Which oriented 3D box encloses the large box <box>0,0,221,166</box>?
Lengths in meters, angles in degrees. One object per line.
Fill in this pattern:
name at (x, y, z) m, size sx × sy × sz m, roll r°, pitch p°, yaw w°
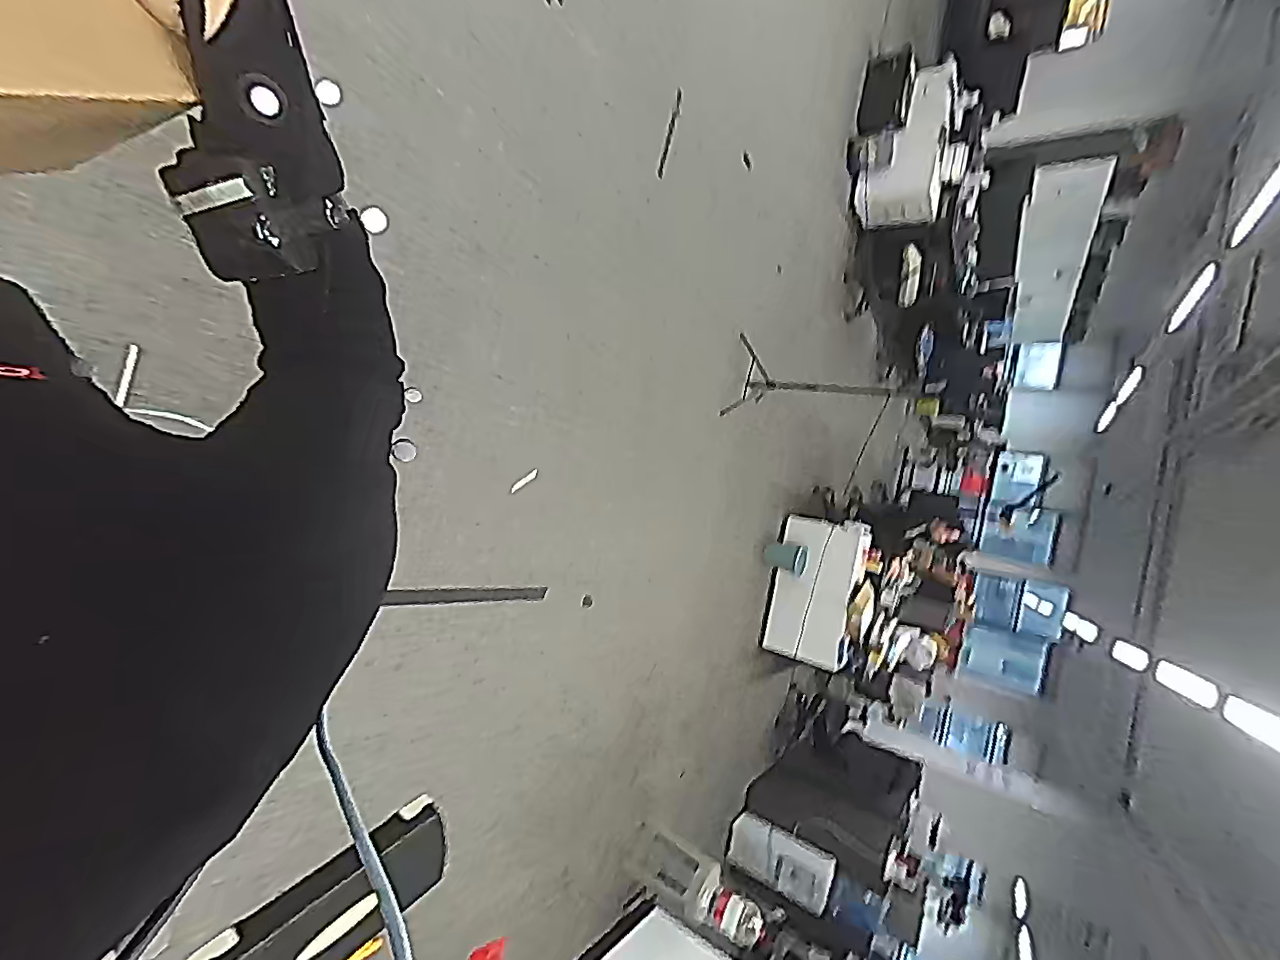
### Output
large box at (-0.469, -0.278, 0.158) m, size 0.408 × 0.320 × 0.320 m, roll -38°, pitch 132°, yaw -45°
